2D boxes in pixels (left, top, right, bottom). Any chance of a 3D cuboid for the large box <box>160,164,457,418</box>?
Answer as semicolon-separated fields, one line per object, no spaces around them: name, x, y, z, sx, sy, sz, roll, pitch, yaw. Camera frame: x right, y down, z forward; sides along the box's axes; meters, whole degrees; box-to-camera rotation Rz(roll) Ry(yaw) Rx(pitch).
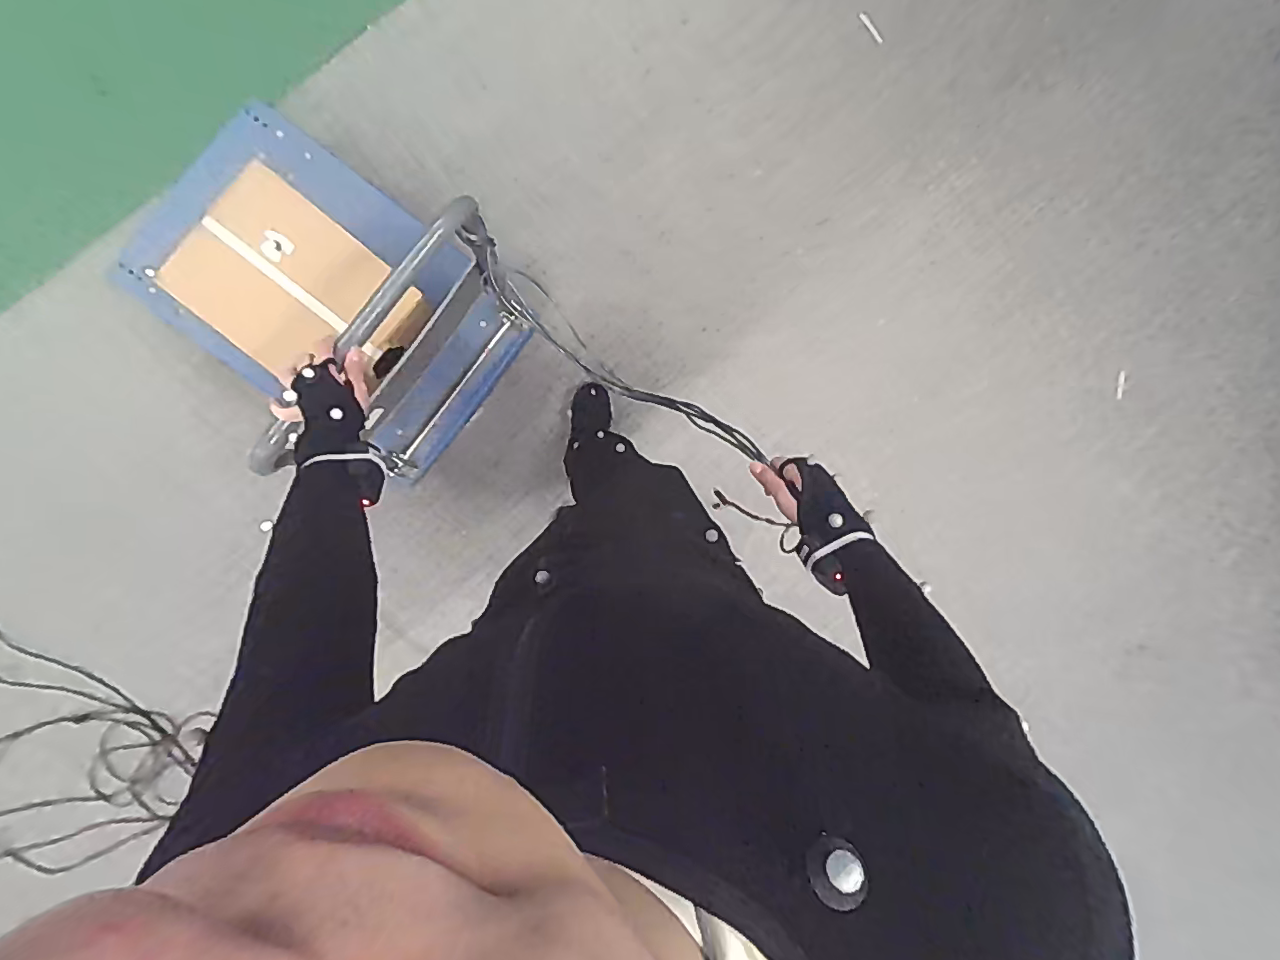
large box;-0.698;-0.387;1.218;0.408;0.320;0.320;39;87;-5
